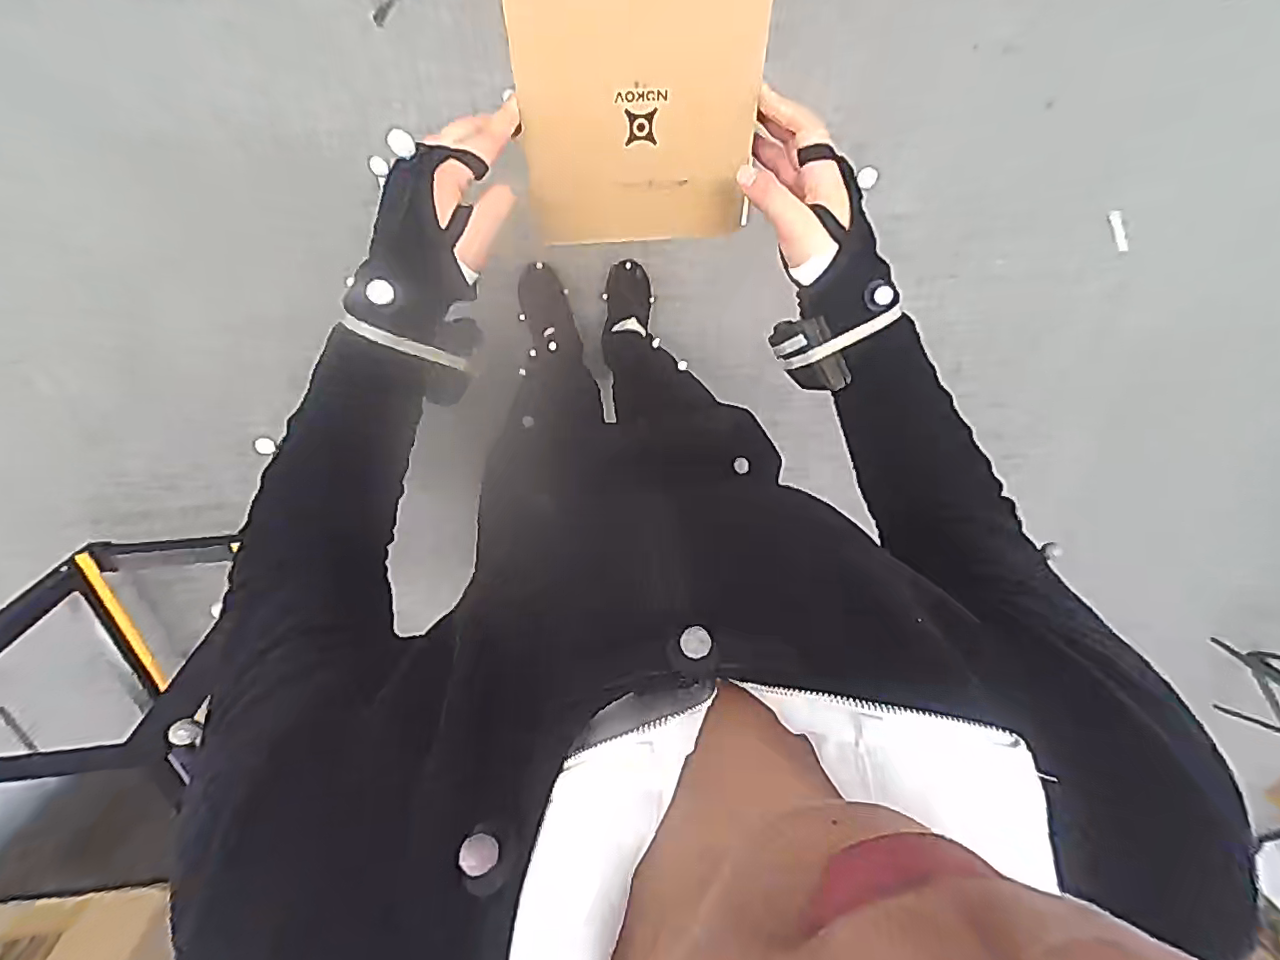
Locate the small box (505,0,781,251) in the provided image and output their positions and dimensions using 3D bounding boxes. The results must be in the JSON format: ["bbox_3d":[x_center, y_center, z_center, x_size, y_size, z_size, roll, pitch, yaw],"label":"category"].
[{"bbox_3d":[-0.005,-0.304,0.412,0.168,0.176,0.179,-5,143,-2],"label":"small box"}]
